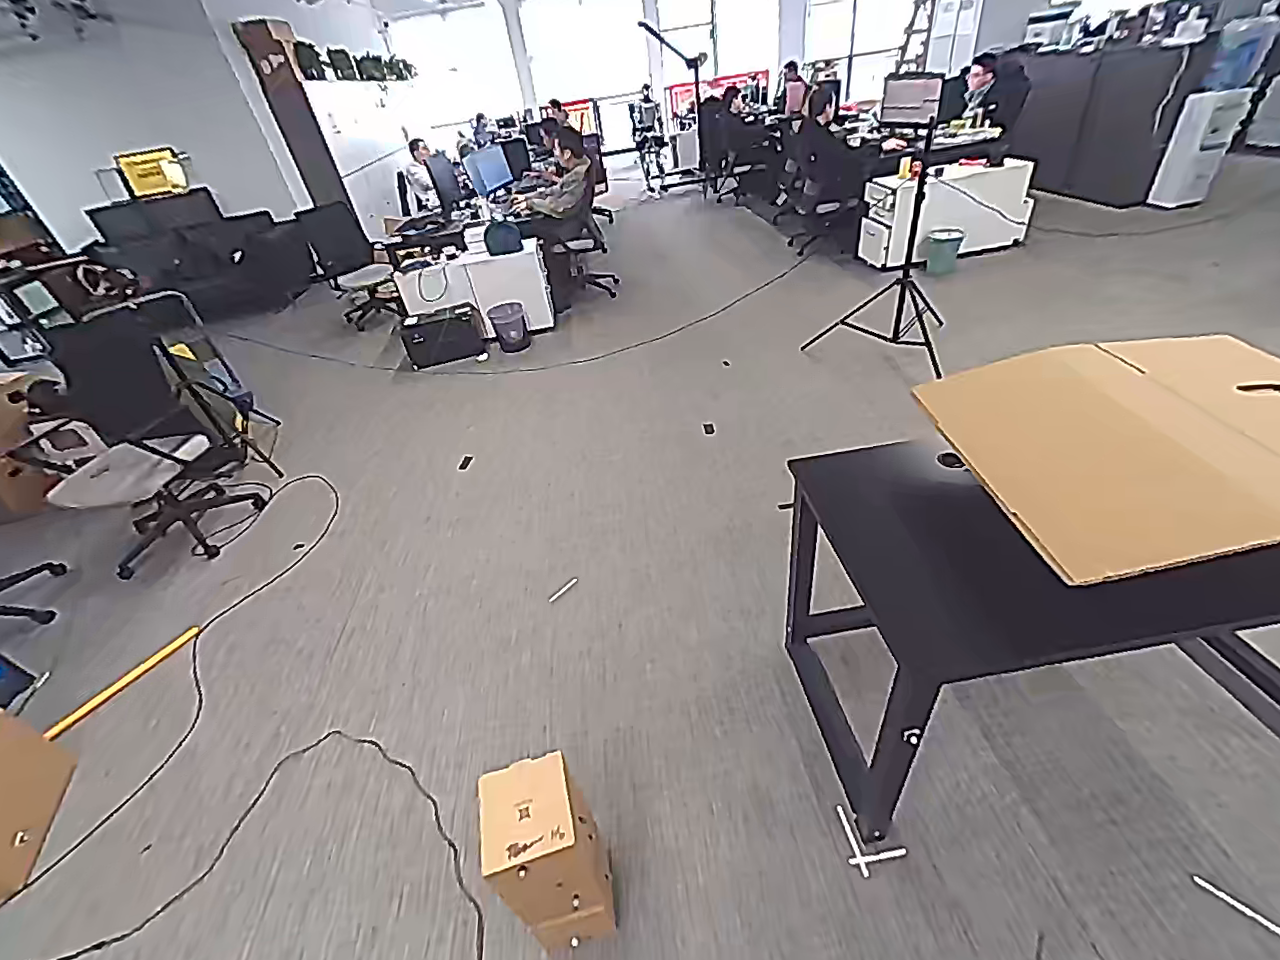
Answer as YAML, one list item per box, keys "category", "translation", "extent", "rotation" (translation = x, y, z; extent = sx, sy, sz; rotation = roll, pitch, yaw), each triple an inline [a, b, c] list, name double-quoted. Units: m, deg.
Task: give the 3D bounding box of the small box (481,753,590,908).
- category: "small box"
  translation: [-0.201, 0.672, 1.042]
  extent: [0.168, 0.176, 0.179]
  rotation: [-15, 37, -8]

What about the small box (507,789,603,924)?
- category: "small box"
  translation: [-0.181, 0.800, 1.143]
  extent: [0.168, 0.176, 0.179]
  rotation: [-14, 36, -7]

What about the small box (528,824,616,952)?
- category: "small box"
  translation: [-0.156, 0.931, 1.236]
  extent: [0.168, 0.176, 0.179]
  rotation: [-12, 38, -3]
